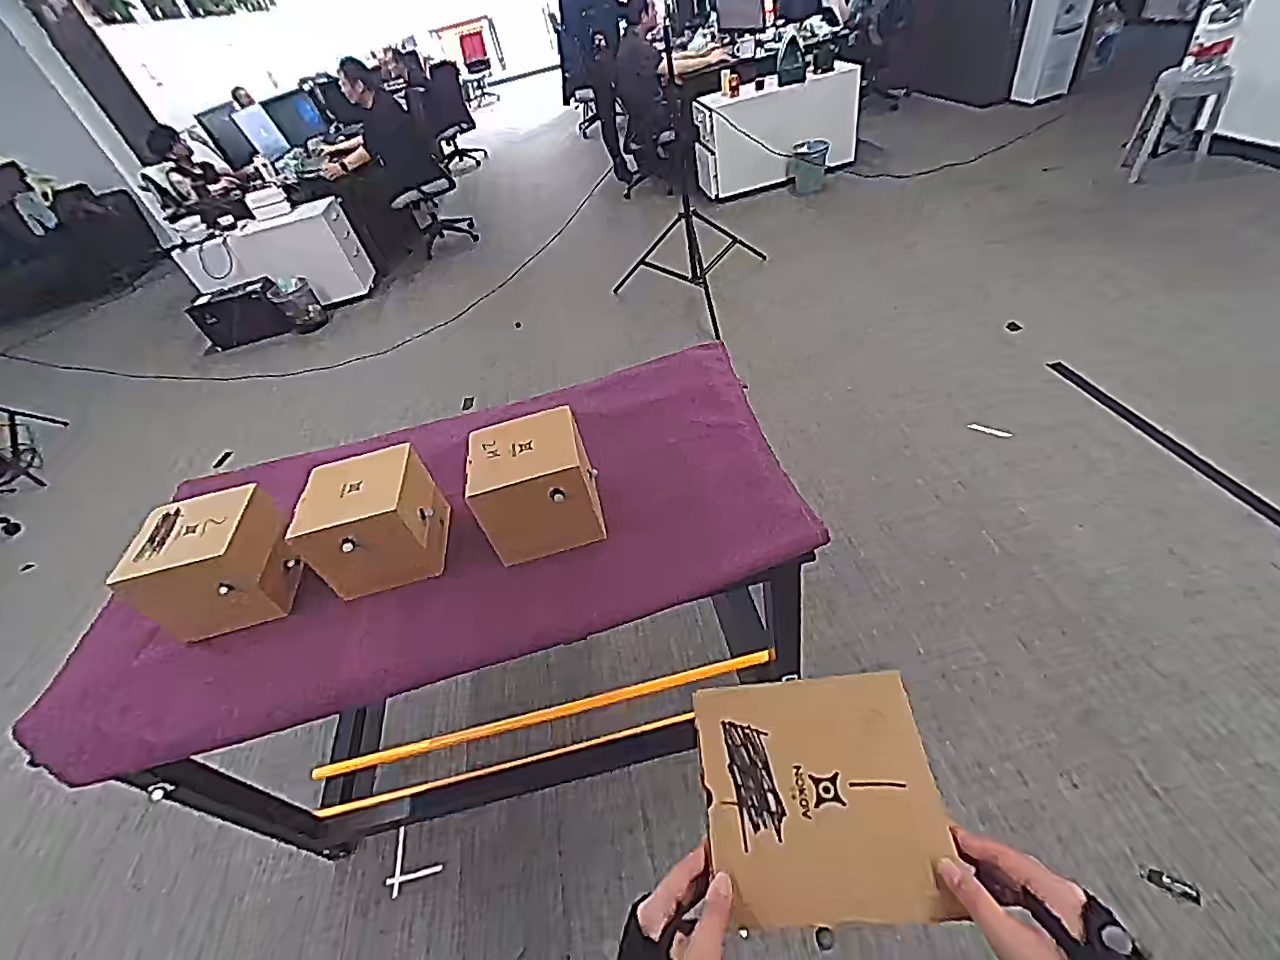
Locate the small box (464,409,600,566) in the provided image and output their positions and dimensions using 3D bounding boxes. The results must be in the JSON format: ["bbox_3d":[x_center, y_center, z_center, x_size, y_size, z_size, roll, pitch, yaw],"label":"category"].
[{"bbox_3d":[-0.170,0.014,0.894,0.179,0.176,0.168,-16,41,0],"label":"small box"}]

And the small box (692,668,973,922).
[{"bbox_3d":[0.150,0.281,0.475,0.179,0.176,0.168,-9,52,8],"label":"small box"}]

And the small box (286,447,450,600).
[{"bbox_3d":[-0.441,0.076,0.914,0.179,0.176,0.168,-16,43,1],"label":"small box"}]
